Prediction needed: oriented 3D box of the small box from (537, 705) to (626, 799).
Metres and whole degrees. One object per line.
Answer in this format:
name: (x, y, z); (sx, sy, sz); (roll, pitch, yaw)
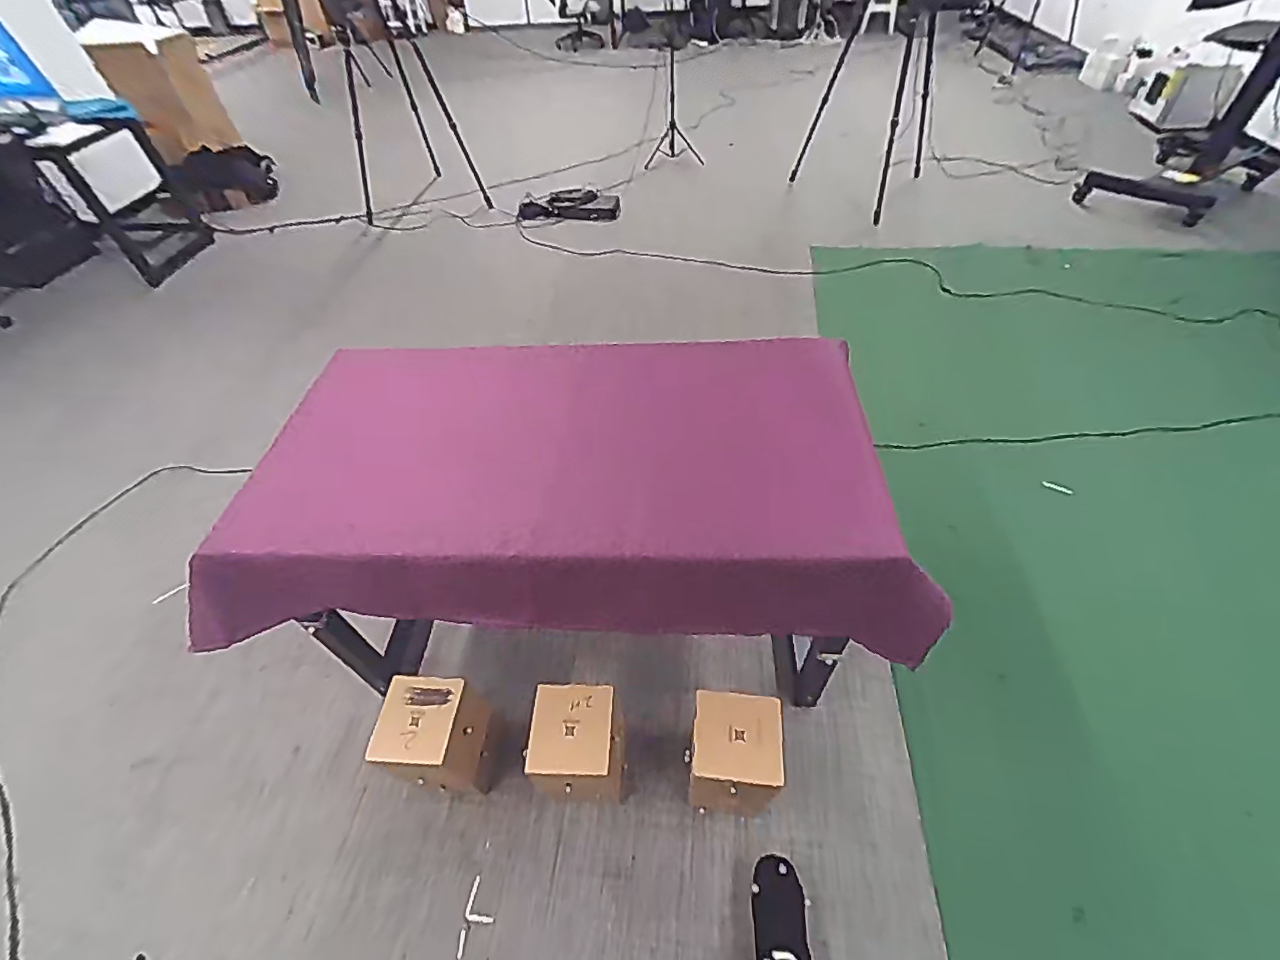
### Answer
small box: (-0.134, 0.658, 1.303); (0.179, 0.176, 0.168); (1, 49, 5)
